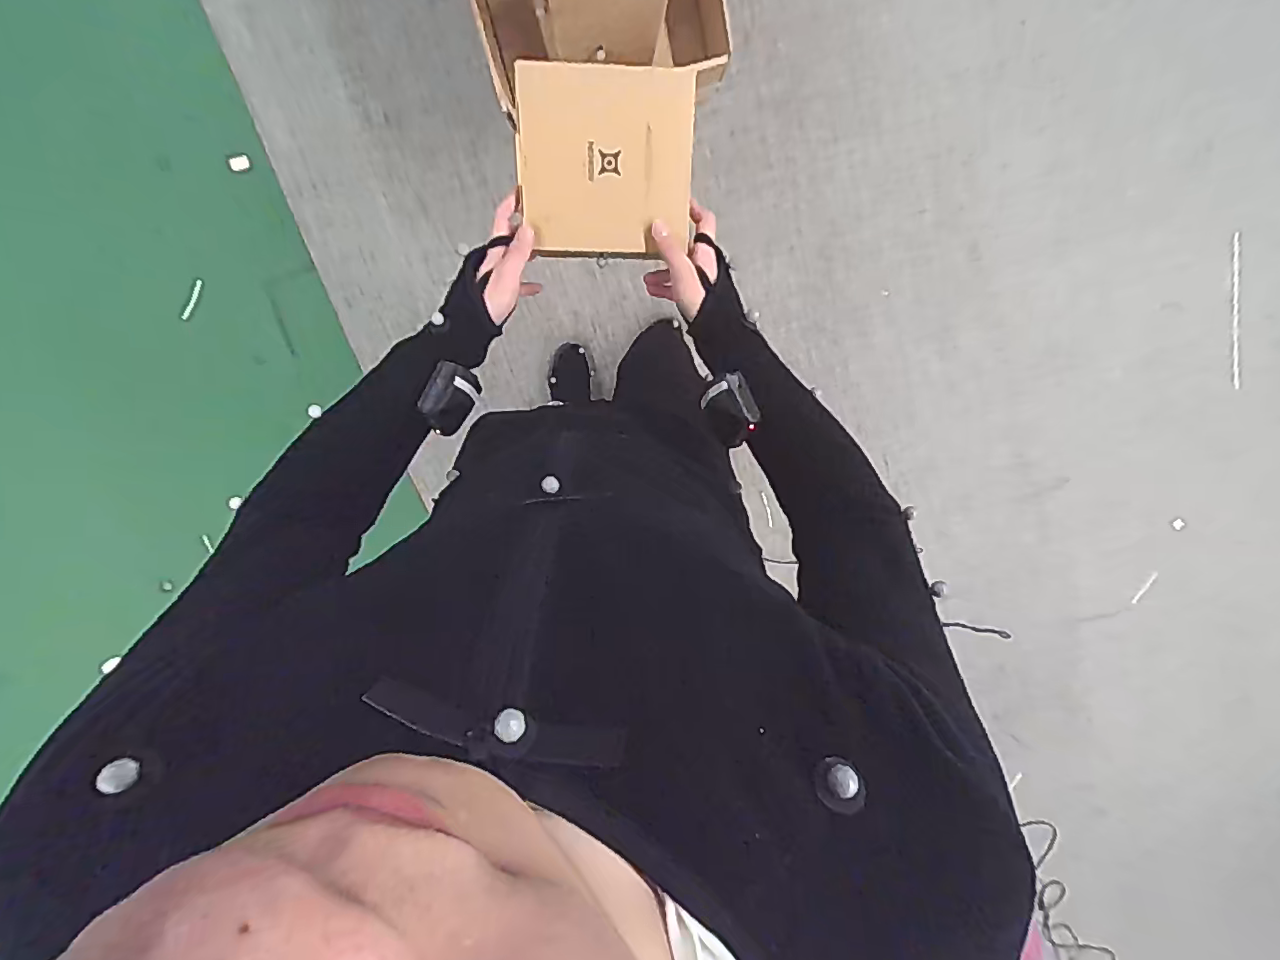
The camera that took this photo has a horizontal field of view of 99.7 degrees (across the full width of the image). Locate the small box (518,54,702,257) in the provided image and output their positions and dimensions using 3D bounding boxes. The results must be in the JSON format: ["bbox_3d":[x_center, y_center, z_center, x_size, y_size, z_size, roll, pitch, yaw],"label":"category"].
[{"bbox_3d":[-0.034,-0.346,0.609,0.179,0.176,0.168,0,111,-4],"label":"small box"}]

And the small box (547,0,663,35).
[{"bbox_3d":[-0.054,-0.751,0.731,0.179,0.176,0.168,-12,106,0],"label":"small box"}]

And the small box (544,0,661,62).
[{"bbox_3d":[-0.071,-0.800,0.888,0.179,0.176,0.168,-13,106,0],"label":"small box"}]
